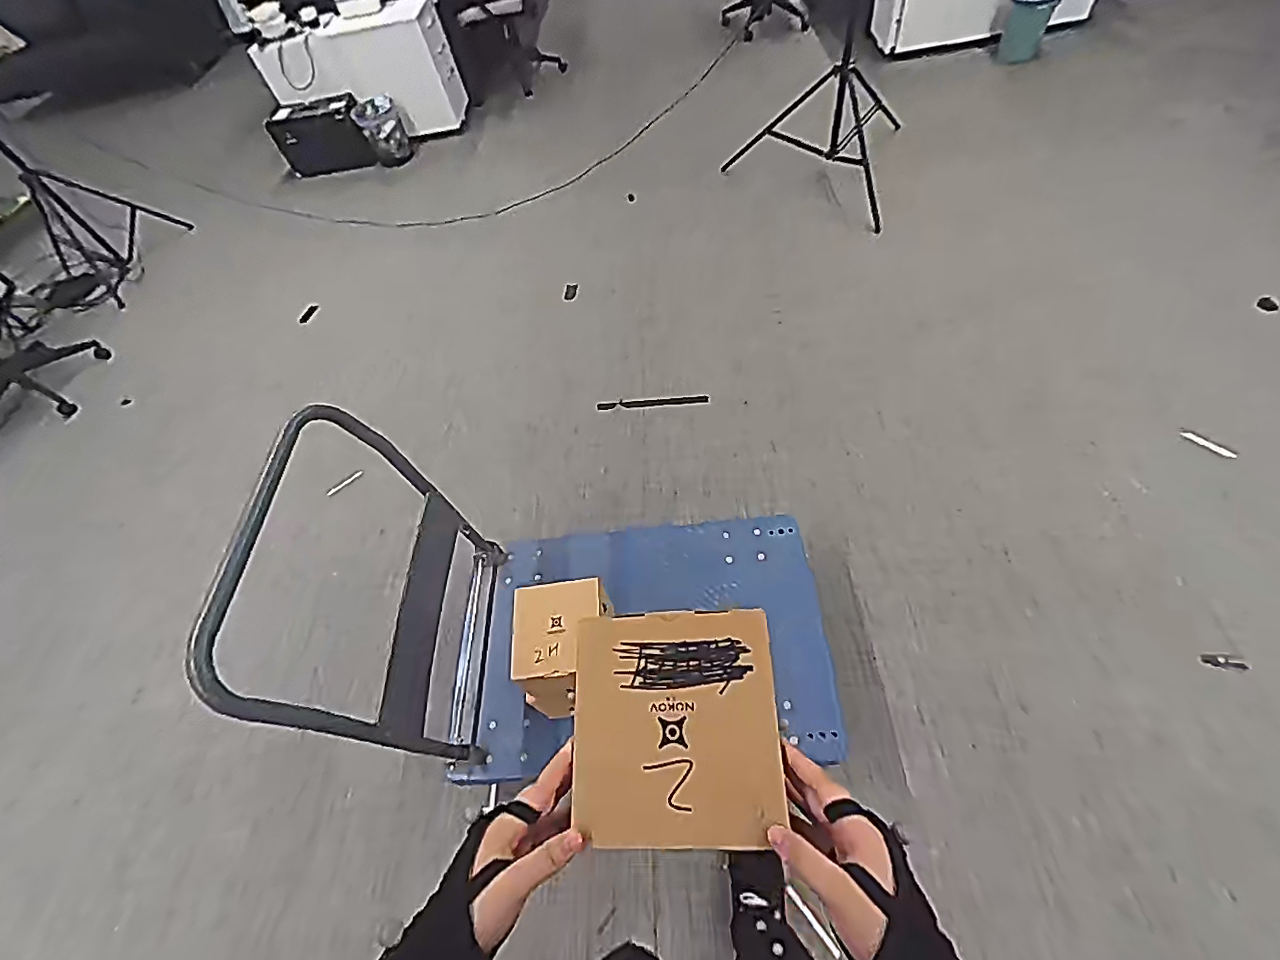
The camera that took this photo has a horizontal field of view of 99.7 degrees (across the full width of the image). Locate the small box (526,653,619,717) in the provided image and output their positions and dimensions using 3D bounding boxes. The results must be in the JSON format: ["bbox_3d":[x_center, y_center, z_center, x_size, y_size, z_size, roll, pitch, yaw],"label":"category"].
[{"bbox_3d":[-0.143,0.405,1.188,0.168,0.176,0.179,-9,56,4],"label":"small box"}]

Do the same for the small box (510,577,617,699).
[{"bbox_3d":[-0.142,0.311,1.050,0.168,0.176,0.179,-9,56,4],"label":"small box"}]
